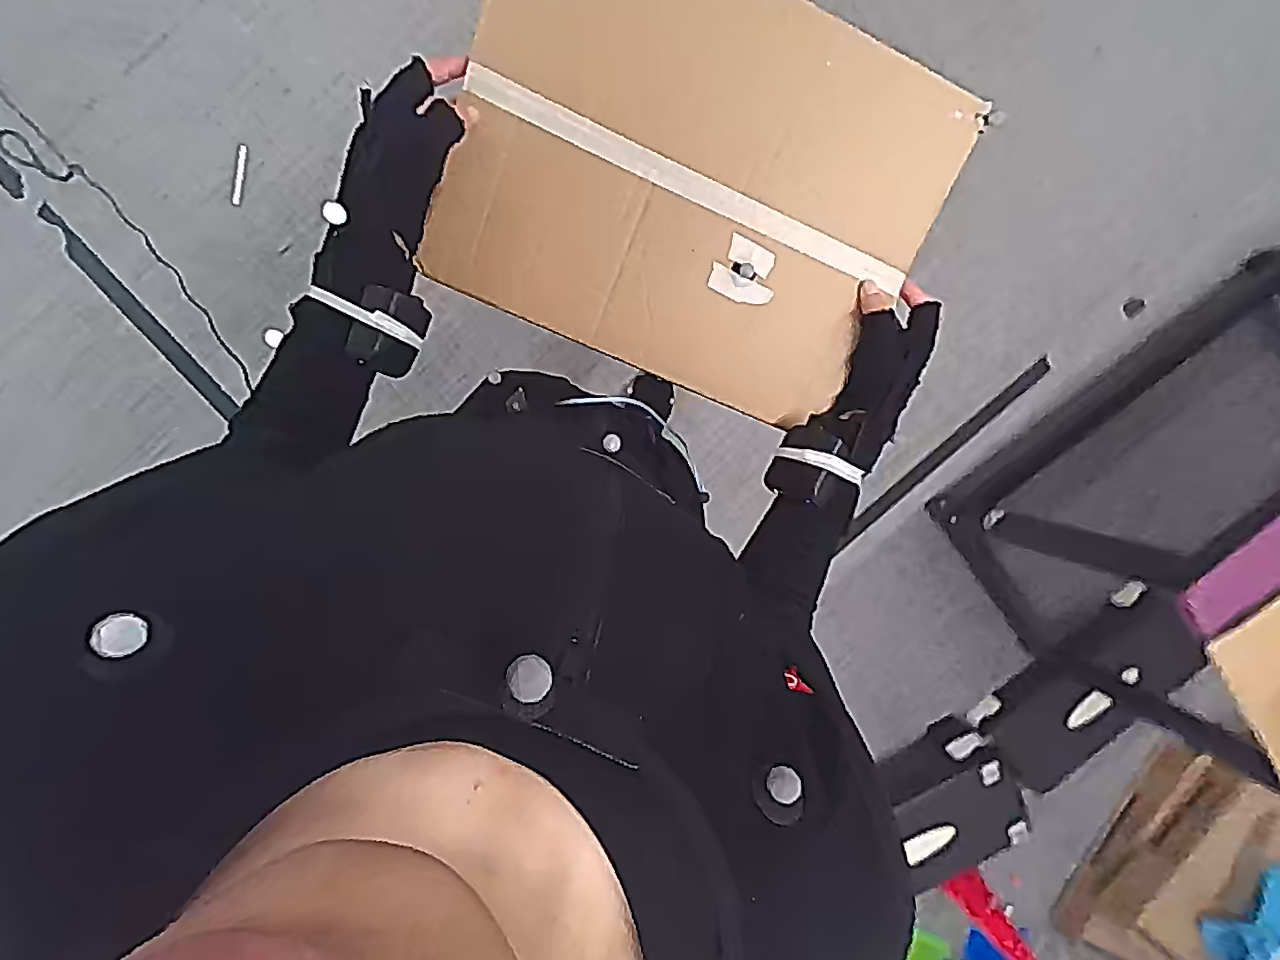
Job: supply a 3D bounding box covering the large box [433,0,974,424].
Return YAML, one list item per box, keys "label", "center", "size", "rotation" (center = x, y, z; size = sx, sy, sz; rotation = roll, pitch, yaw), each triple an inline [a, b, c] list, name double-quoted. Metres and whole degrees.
- label: "large box"
  center: [0.043, -0.299, 0.616]
  size: [0.408, 0.320, 0.320]
  rotation: [21, 105, -9]
